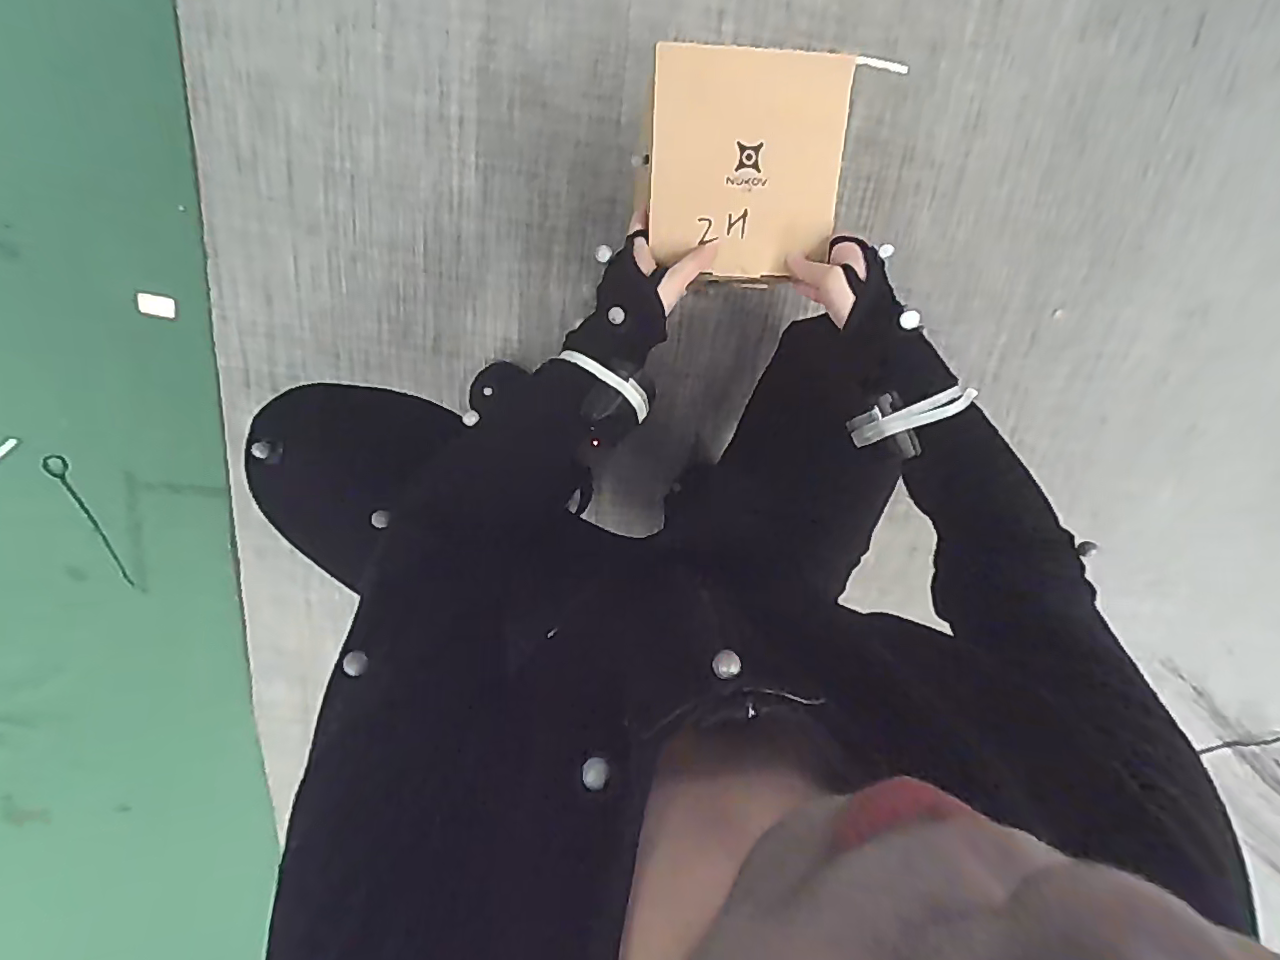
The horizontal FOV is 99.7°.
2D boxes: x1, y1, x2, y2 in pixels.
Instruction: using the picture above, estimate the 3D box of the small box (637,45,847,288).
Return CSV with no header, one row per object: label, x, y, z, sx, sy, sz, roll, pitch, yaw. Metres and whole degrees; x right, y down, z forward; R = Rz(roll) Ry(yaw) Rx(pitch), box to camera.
small box,0.084,-0.293,0.545,0.168,0.176,0.179,2,108,-3
